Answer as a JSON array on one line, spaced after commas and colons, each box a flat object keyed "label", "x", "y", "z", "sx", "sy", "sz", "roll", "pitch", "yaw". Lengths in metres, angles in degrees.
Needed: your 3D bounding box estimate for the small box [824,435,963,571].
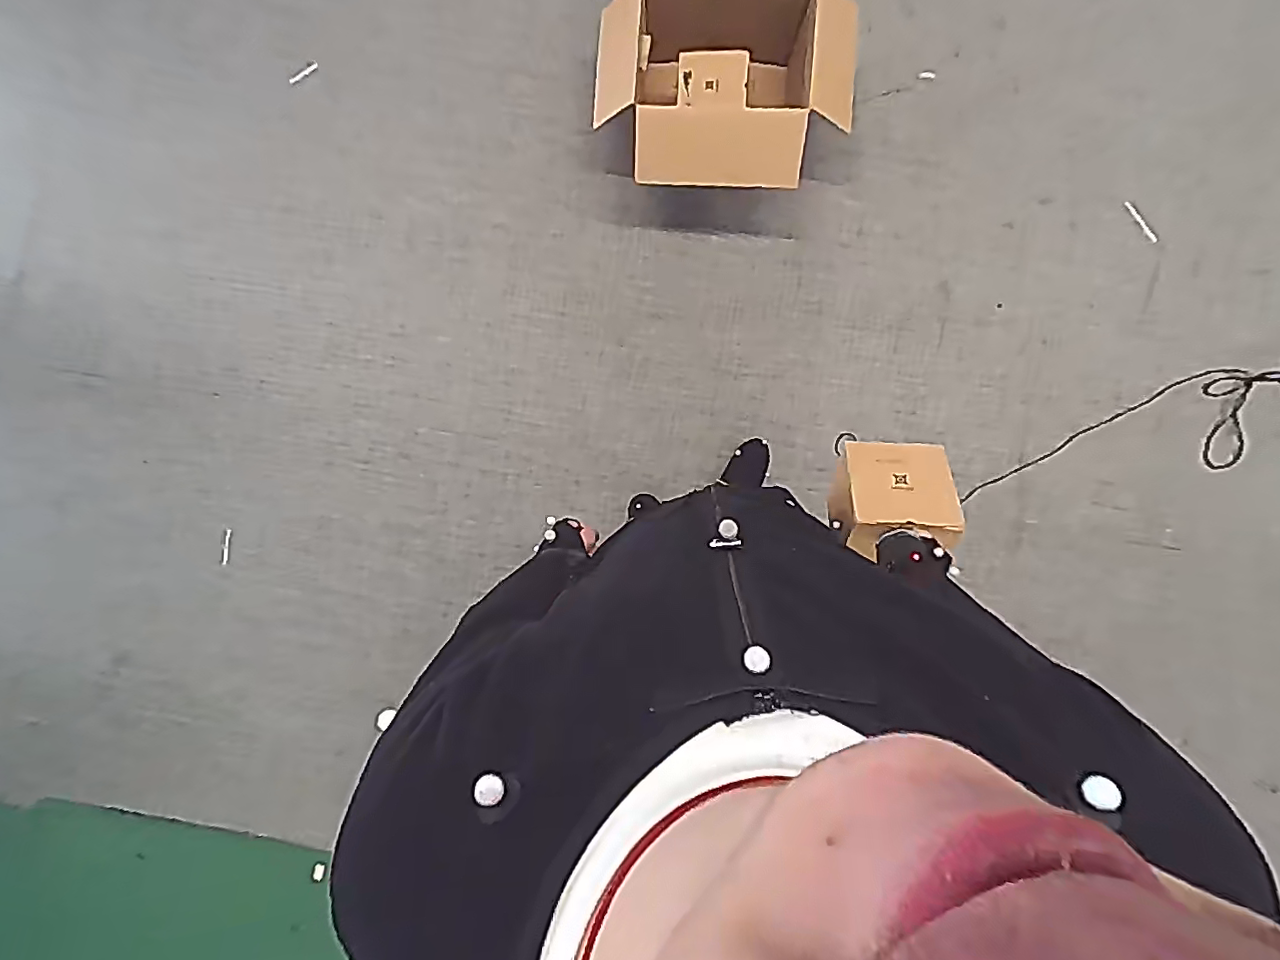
[{"label": "small box", "x": 0.426, "y": 0.043, "z": 0.941, "sx": 0.168, "sy": 0.176, "sz": 0.179, "roll": 3, "pitch": 51, "yaw": 7}]
